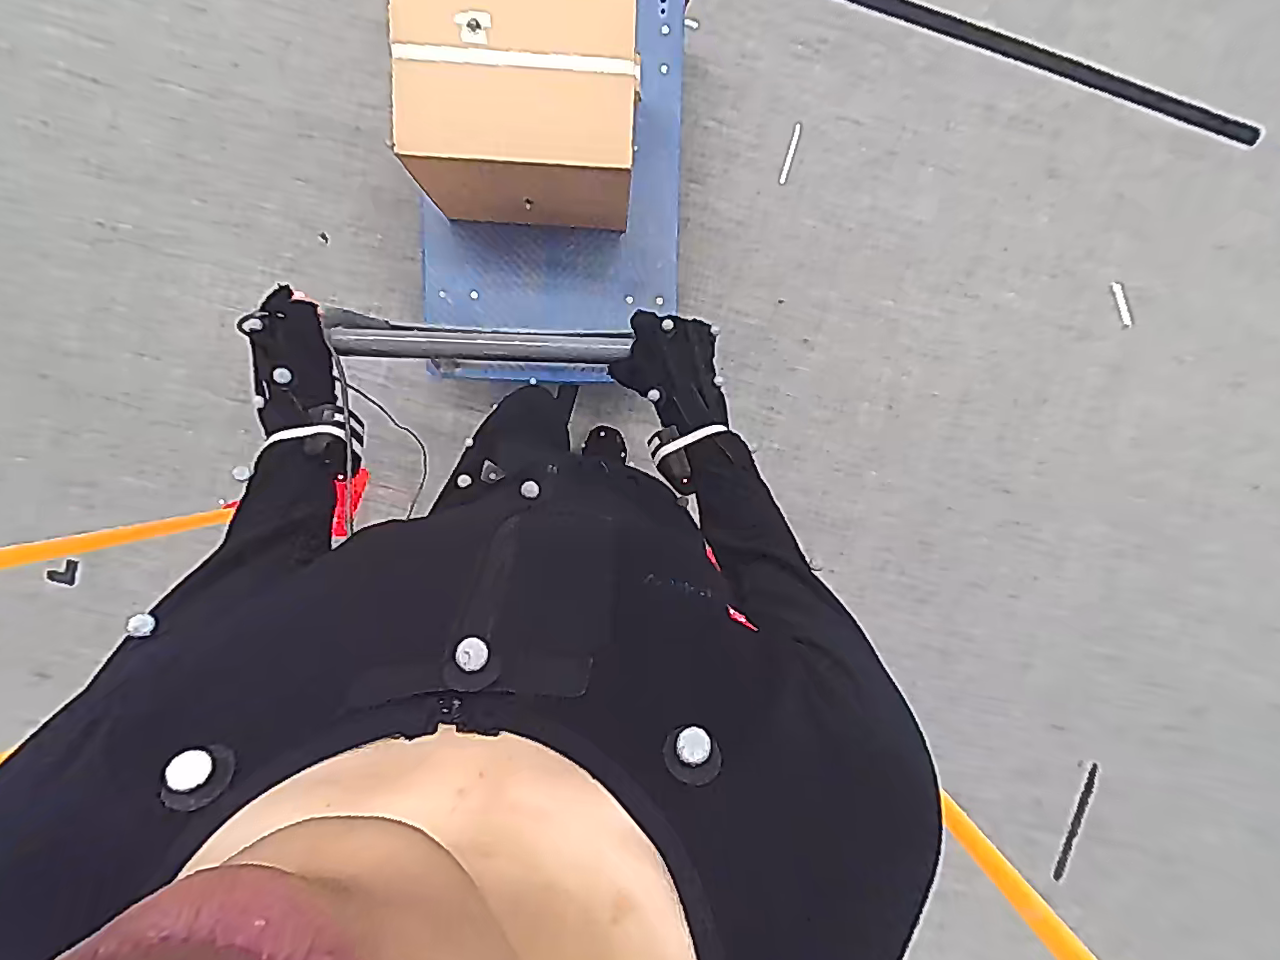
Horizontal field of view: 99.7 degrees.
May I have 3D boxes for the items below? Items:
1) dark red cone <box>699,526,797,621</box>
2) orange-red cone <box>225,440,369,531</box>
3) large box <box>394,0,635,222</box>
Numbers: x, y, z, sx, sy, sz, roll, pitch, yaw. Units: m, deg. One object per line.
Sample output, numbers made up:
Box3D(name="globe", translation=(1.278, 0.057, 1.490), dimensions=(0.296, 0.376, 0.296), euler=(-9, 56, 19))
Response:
Box3D(name="dark red cone", translation=(0.290, 0.255, 1.315), dimensions=(0.201, 0.394, 0.202), euler=(16, 95, -7))
Box3D(name="orange-red cone", translation=(-0.820, 0.032, 1.246), dimensions=(0.198, 0.360, 0.199), euler=(23, 93, -6))
Box3D(name="large box", translation=(-0.214, -0.716, 1.051), dimensions=(0.408, 0.320, 0.320), euler=(2, 97, -3))
